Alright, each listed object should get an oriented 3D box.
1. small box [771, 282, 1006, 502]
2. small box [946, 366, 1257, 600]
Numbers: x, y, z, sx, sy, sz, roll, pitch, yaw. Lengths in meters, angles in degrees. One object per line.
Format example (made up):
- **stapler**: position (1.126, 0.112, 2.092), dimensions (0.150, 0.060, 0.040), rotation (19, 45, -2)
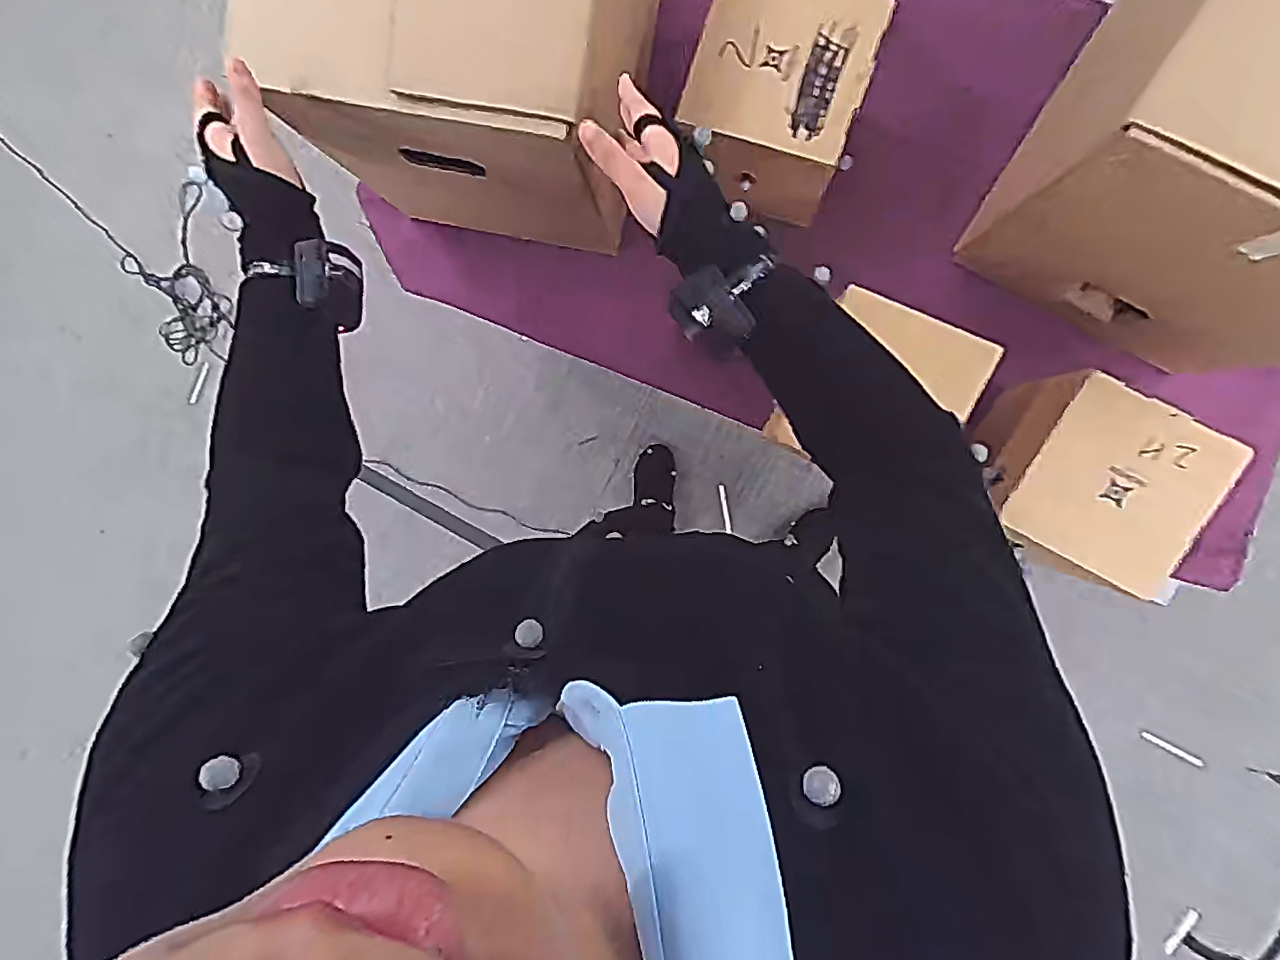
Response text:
- **small box**: position (0.264, -0.096, 0.626), dimensions (0.168, 0.176, 0.179), rotation (25, 98, 5)
- **small box**: position (0.479, 0.001, 0.602), dimensions (0.168, 0.176, 0.179), rotation (30, 96, 5)
